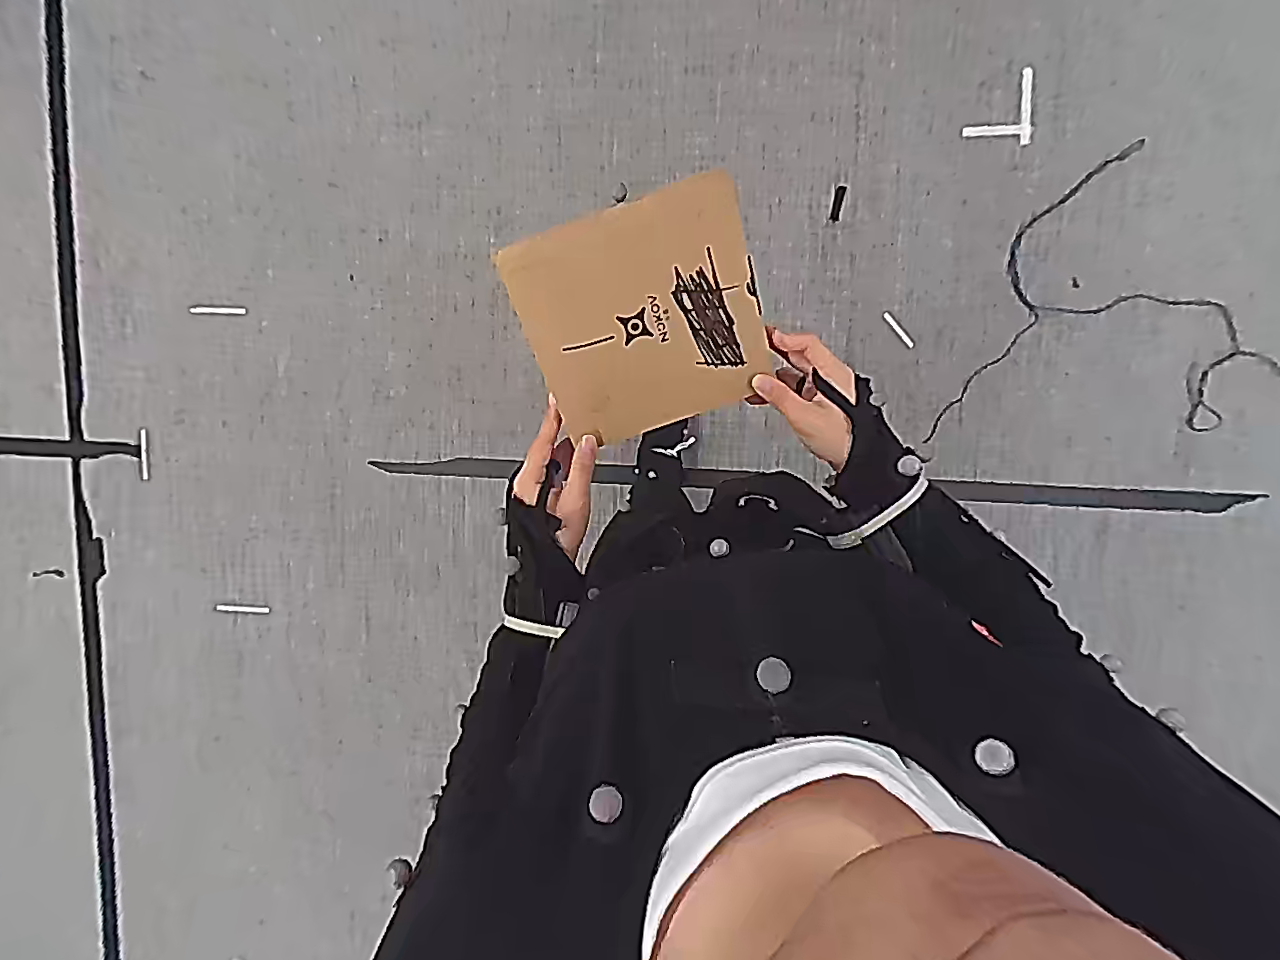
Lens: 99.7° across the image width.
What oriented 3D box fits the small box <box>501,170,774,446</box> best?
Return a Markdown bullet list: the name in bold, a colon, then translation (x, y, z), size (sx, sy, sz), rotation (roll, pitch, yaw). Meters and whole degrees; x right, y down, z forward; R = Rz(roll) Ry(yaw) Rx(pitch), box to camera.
- **small box**: translation (-0.002, -0.157, 0.484), size (0.179, 0.176, 0.168), rotation (-18, 115, 4)
